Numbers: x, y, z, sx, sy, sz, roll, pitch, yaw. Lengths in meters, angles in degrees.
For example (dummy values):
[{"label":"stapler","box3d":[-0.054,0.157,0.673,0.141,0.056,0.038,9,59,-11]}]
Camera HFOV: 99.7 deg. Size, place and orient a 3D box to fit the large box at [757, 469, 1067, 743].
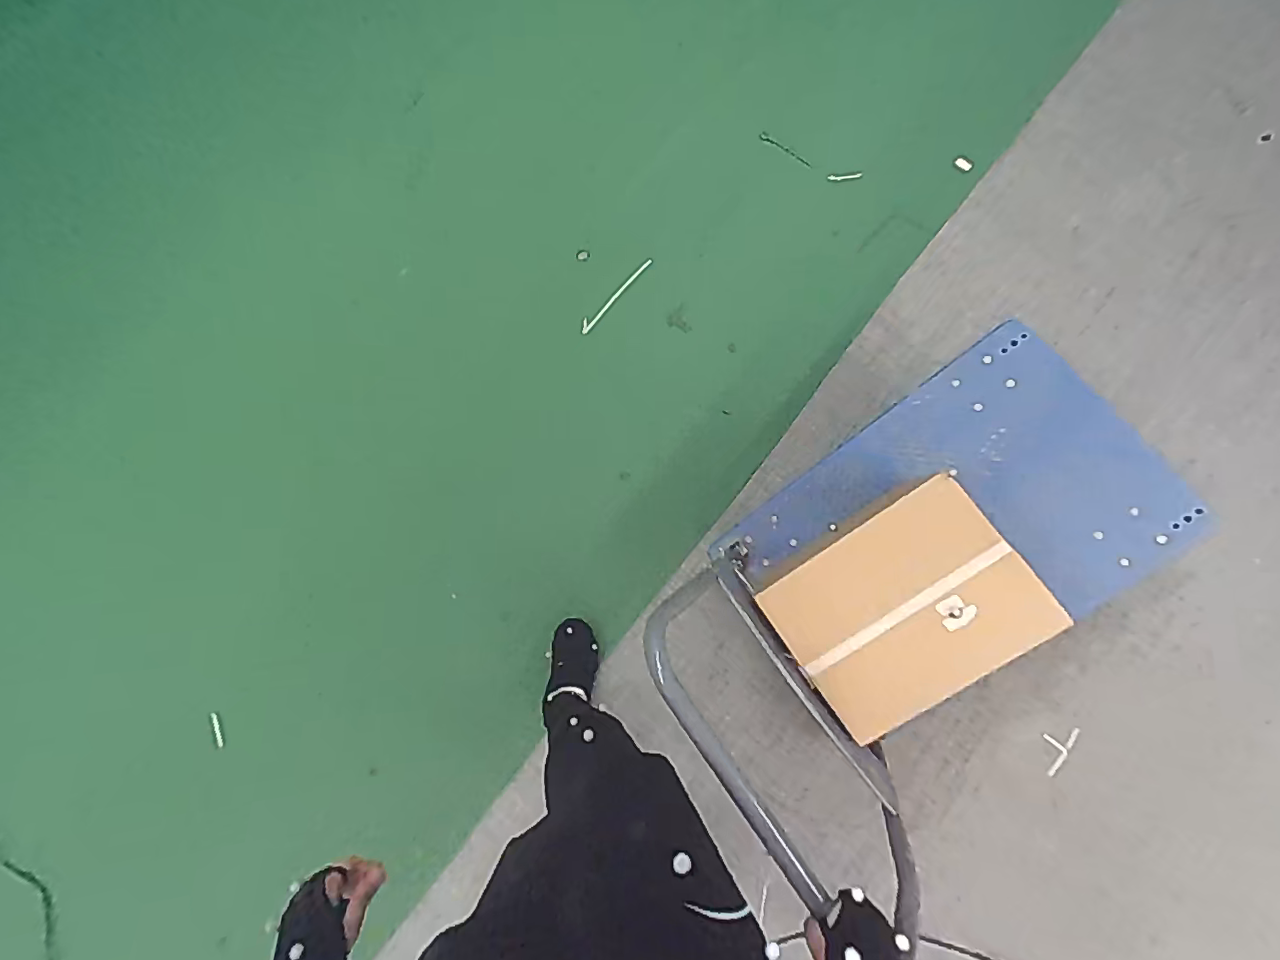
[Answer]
[{"label":"large box","box3d":[0.490,0.231,1.078,0.408,0.320,0.320,-37,79,10]}]
